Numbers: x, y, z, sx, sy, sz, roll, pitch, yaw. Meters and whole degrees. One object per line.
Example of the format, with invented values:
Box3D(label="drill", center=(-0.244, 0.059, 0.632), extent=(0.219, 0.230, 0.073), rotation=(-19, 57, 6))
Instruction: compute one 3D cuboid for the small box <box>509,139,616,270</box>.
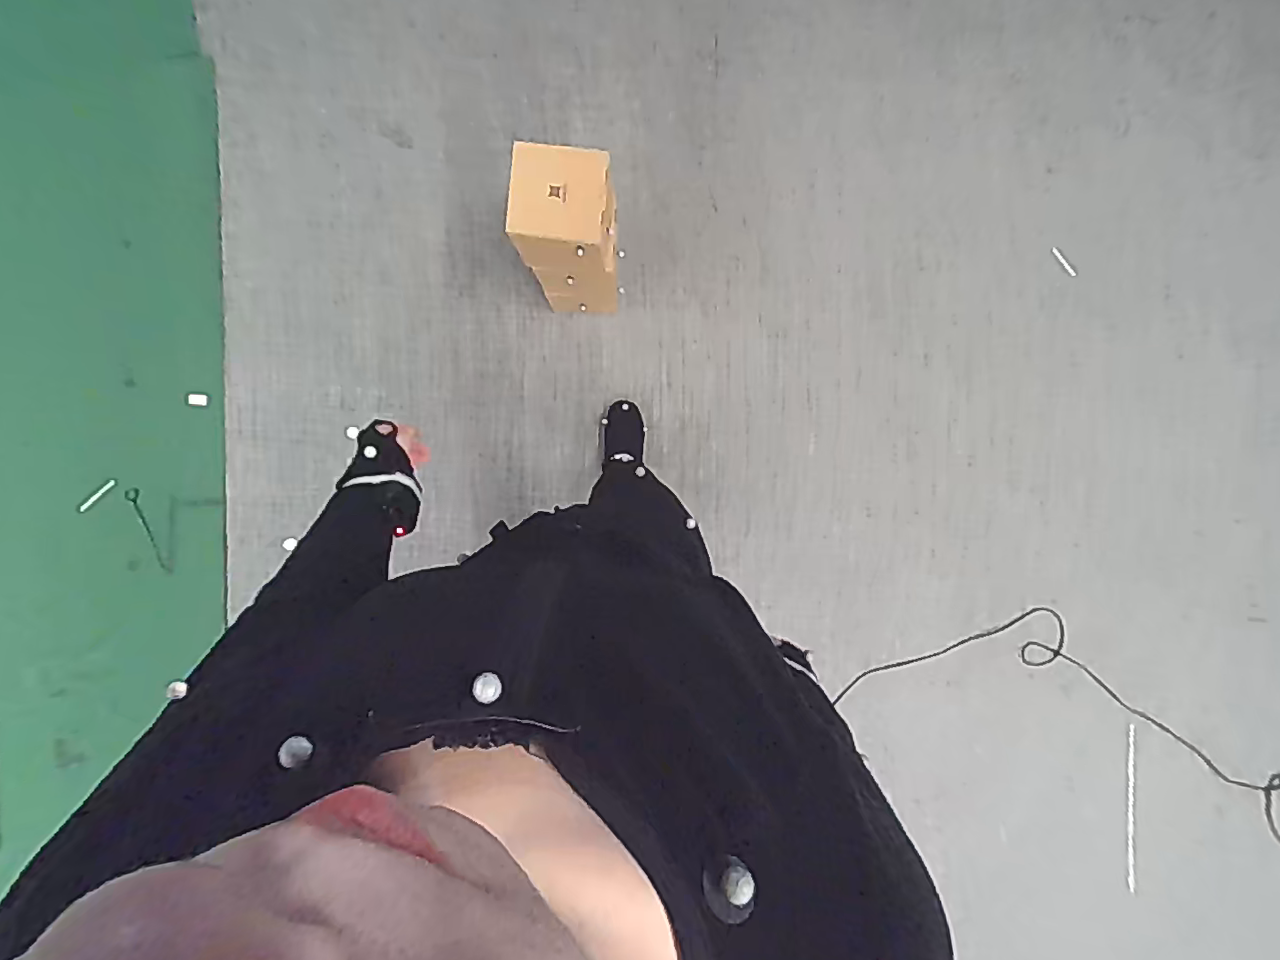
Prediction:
Box3D(label="small box", center=(-0.144, -0.528, 1.059), extent=(0.179, 0.176, 0.168), rotation=(6, 92, -1))

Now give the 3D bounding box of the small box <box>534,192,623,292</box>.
Box3D(label="small box", center=(-0.133, -0.534, 1.222), extent=(0.179, 0.176, 0.168), rotation=(3, 93, -1))
